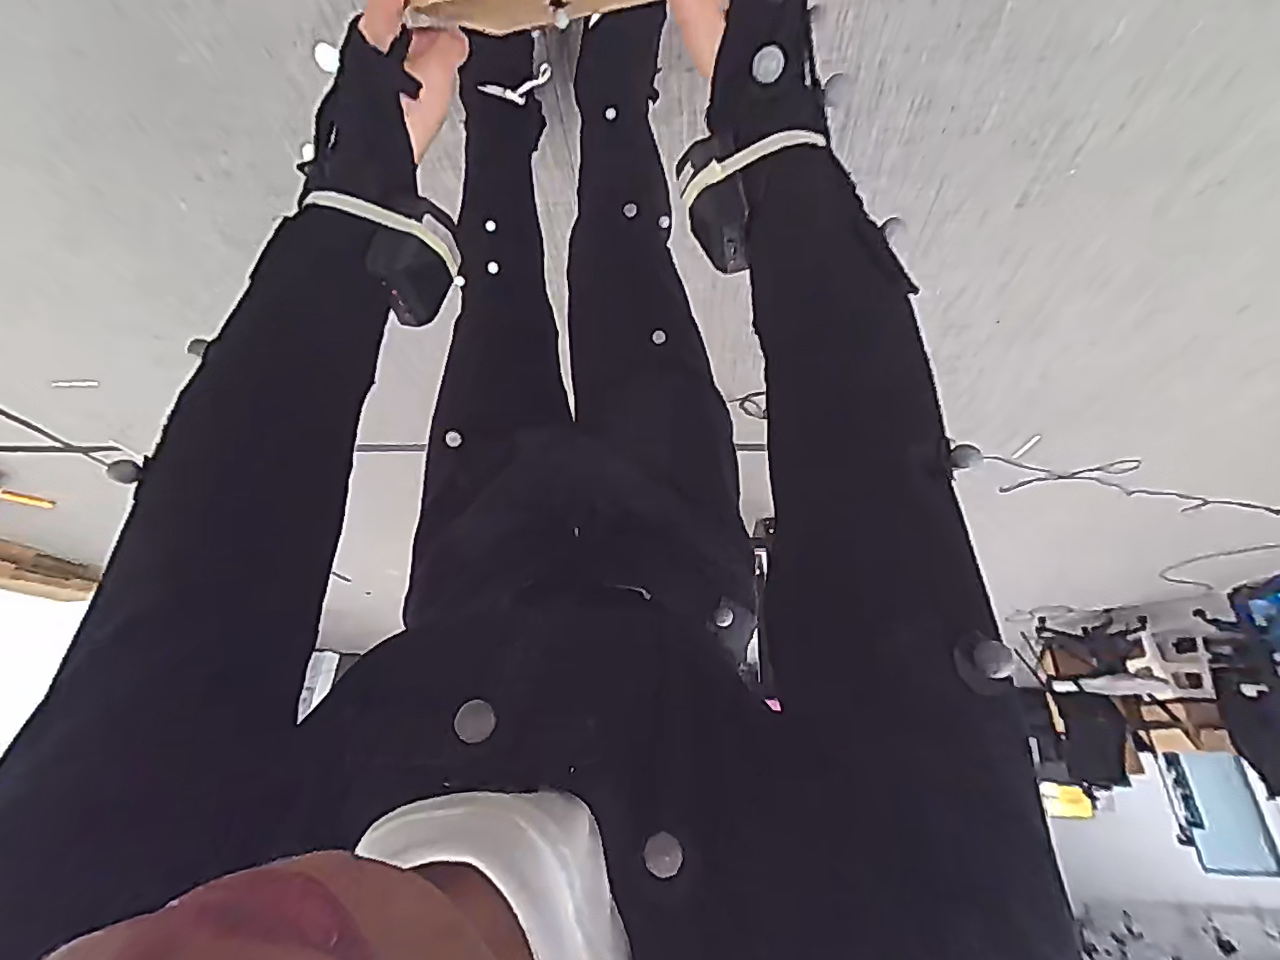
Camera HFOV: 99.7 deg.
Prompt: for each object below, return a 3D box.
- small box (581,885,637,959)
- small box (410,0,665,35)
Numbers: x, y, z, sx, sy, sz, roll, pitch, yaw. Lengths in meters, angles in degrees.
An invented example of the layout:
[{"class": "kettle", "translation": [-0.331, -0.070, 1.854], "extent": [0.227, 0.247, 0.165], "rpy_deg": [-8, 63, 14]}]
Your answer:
[{"class": "small box", "translation": [-0.104, 1.530, 1.878], "extent": [0.179, 0.176, 0.168], "rpy_deg": [-2, 152, 4]}, {"class": "small box", "translation": [-0.060, -0.409, 0.344], "extent": [0.179, 0.176, 0.168], "rpy_deg": [-3, 124, 10]}]
